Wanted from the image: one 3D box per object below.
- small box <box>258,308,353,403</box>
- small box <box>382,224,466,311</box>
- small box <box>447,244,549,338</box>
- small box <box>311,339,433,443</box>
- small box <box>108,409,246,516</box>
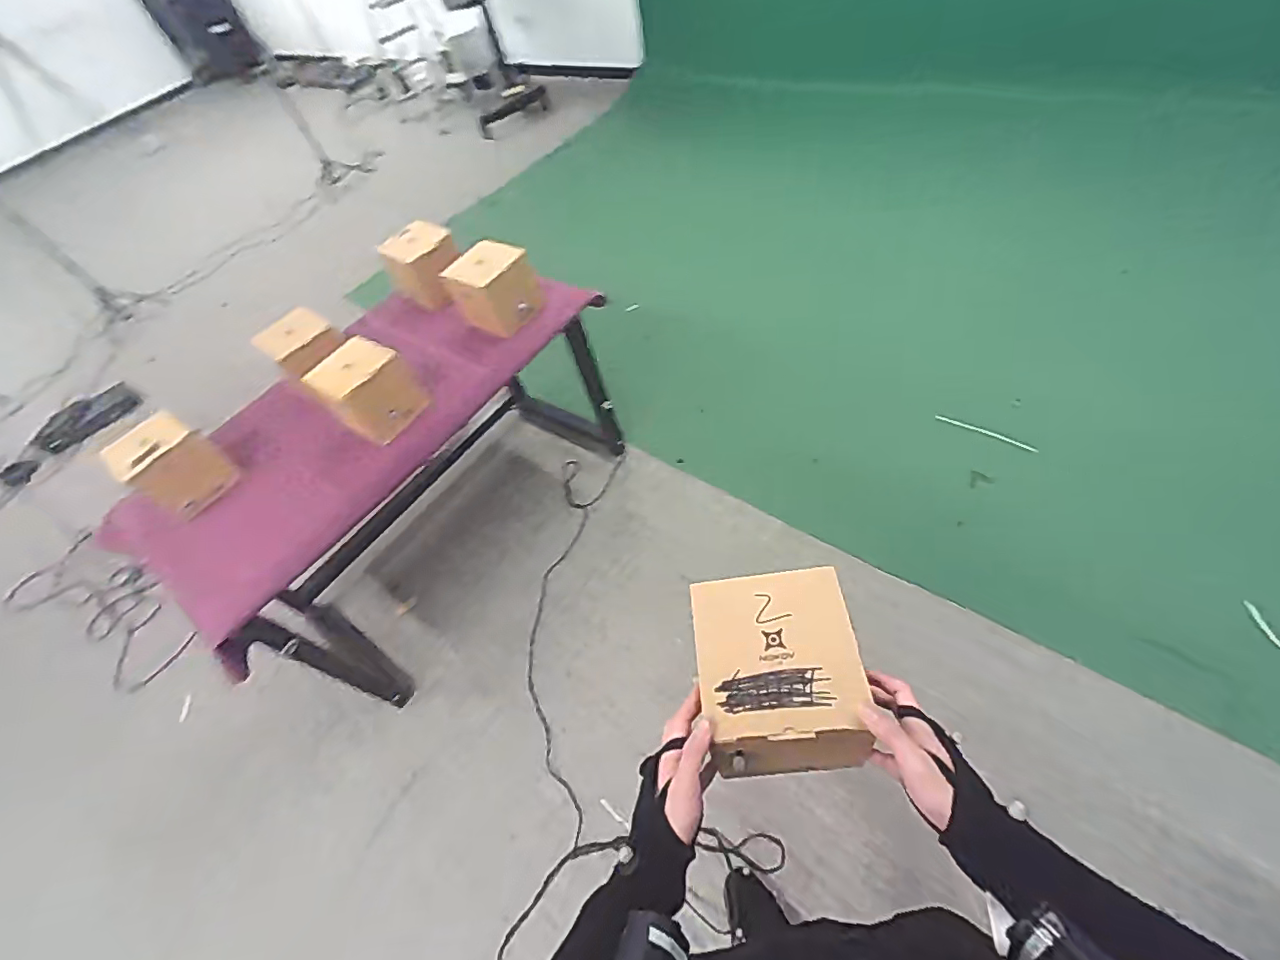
[{"bbox_3d":[-0.886,-0.336,1.483,0.179,0.176,0.168,30,65,30],"label":"small box"},{"bbox_3d":[-0.632,-0.640,1.643,0.179,0.176,0.168,30,66,27],"label":"small box"},{"bbox_3d":[-0.385,-0.517,1.489,0.179,0.176,0.168,27,66,30],"label":"small box"},{"bbox_3d":[-0.656,-0.217,1.337,0.179,0.176,0.168,24,63,28],"label":"small box"},{"bbox_3d":[-1.114,-0.038,1.314,0.179,0.176,0.168,27,64,30],"label":"small box"}]
